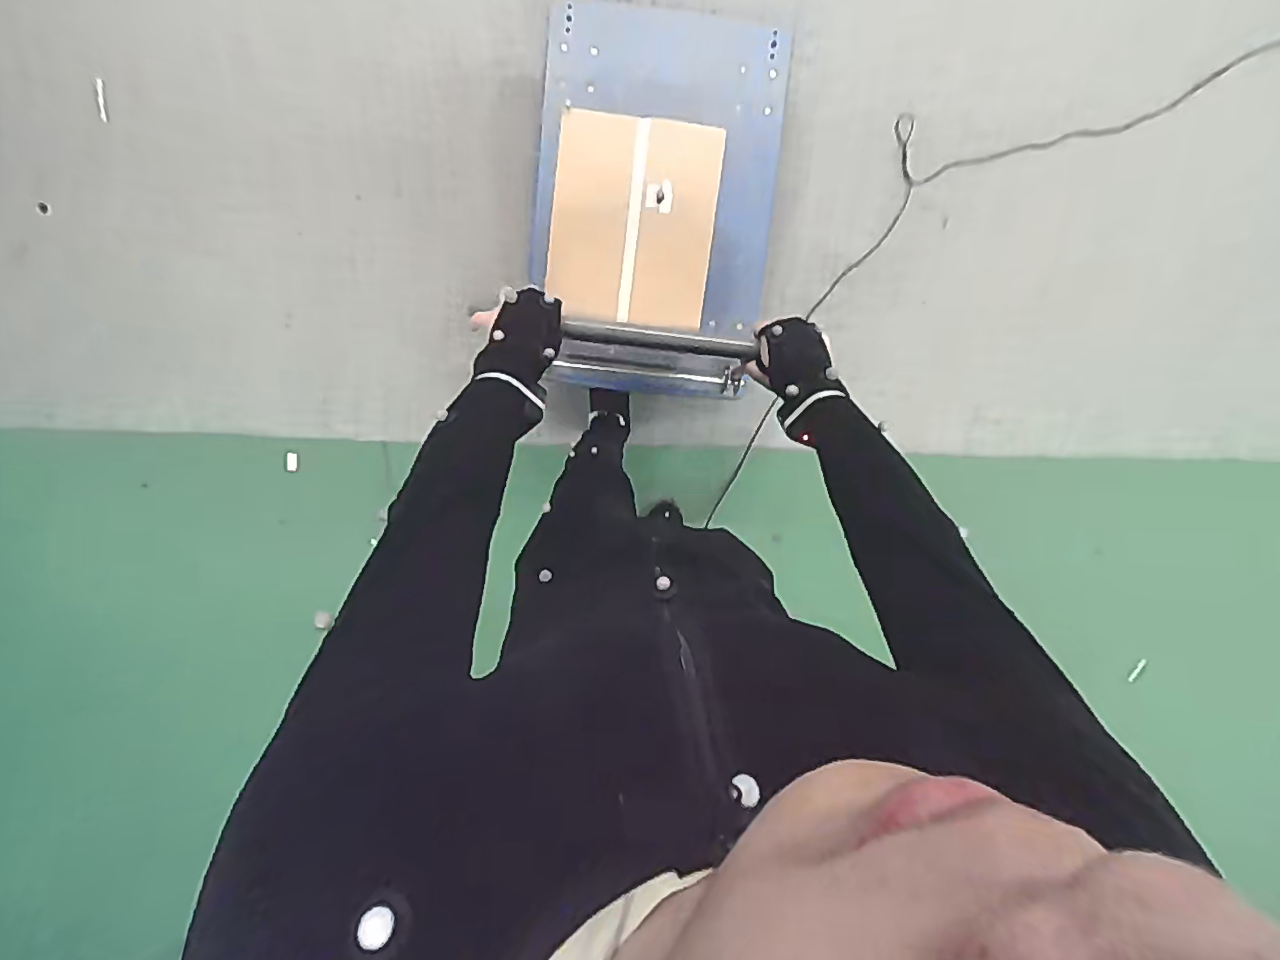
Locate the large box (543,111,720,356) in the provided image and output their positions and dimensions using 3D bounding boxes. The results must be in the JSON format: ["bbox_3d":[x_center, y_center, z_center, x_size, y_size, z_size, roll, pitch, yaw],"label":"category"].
[{"bbox_3d":[-0.021,-0.502,1.193,0.320,0.320,0.408,7,97,-3],"label":"large box"}]
